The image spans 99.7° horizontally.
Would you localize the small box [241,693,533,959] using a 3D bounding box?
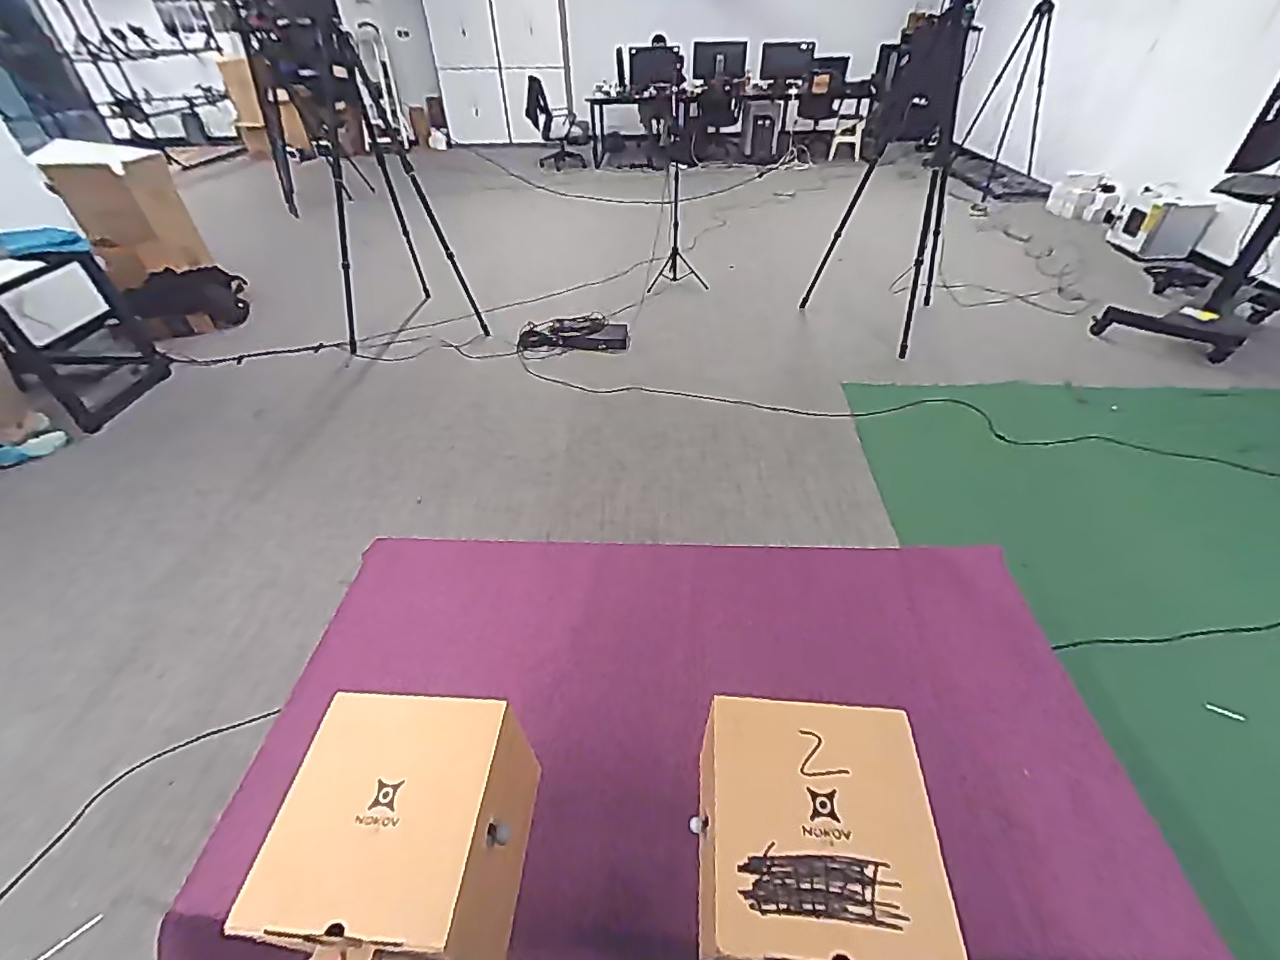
[{"bbox_3d":[-0.206,0.324,0.506,0.168,0.176,0.179,1,45,5],"label":"small box"}]
